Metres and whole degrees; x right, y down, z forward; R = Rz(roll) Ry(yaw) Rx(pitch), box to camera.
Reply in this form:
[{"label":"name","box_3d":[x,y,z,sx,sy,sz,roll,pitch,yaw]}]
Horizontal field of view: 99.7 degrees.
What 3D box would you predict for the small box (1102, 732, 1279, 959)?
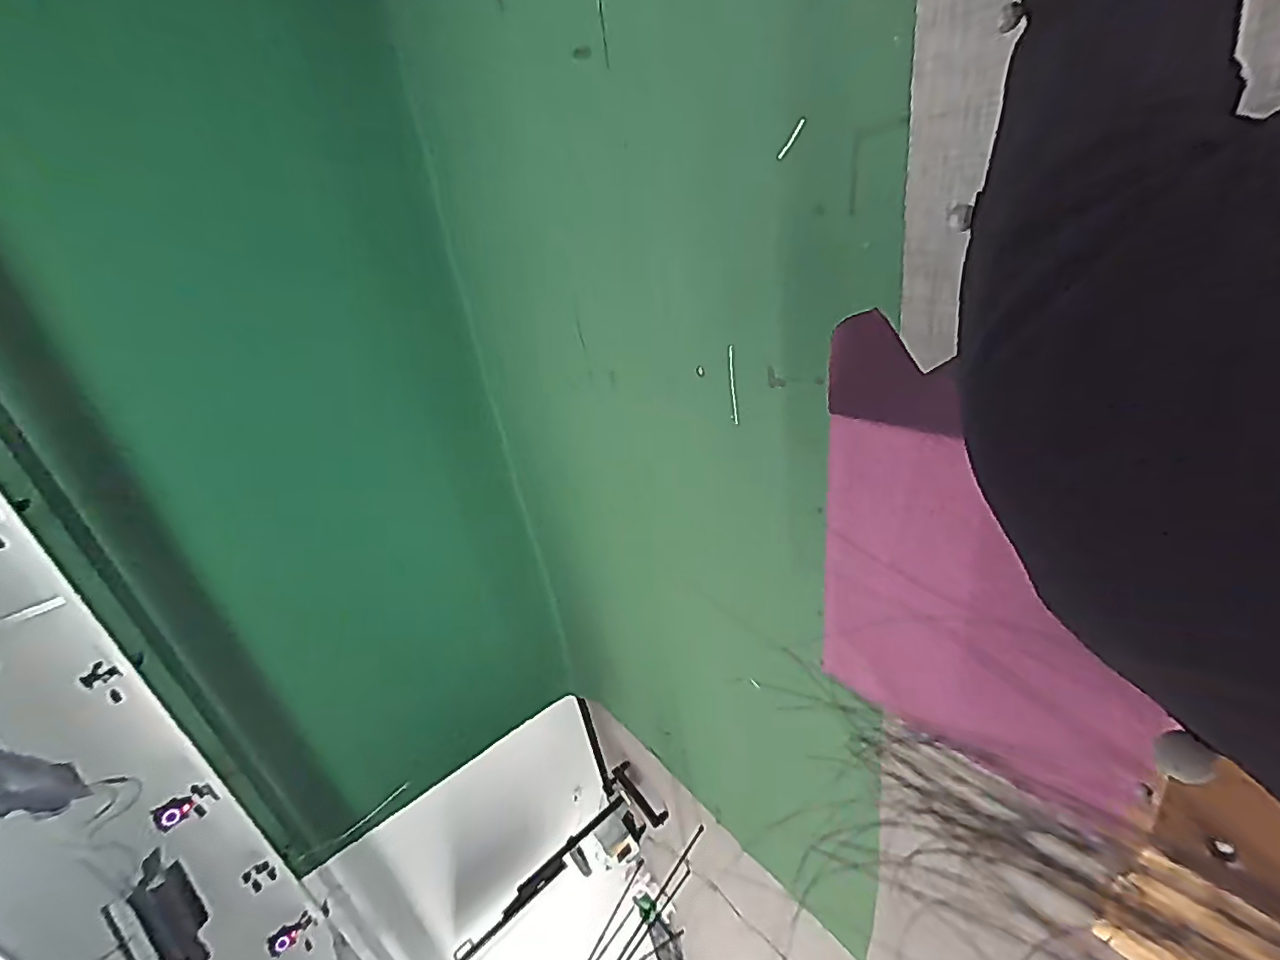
[{"label":"small box","box_3d":[0.553,0.363,0.464,0.179,0.176,0.168,26,134,46]}]
